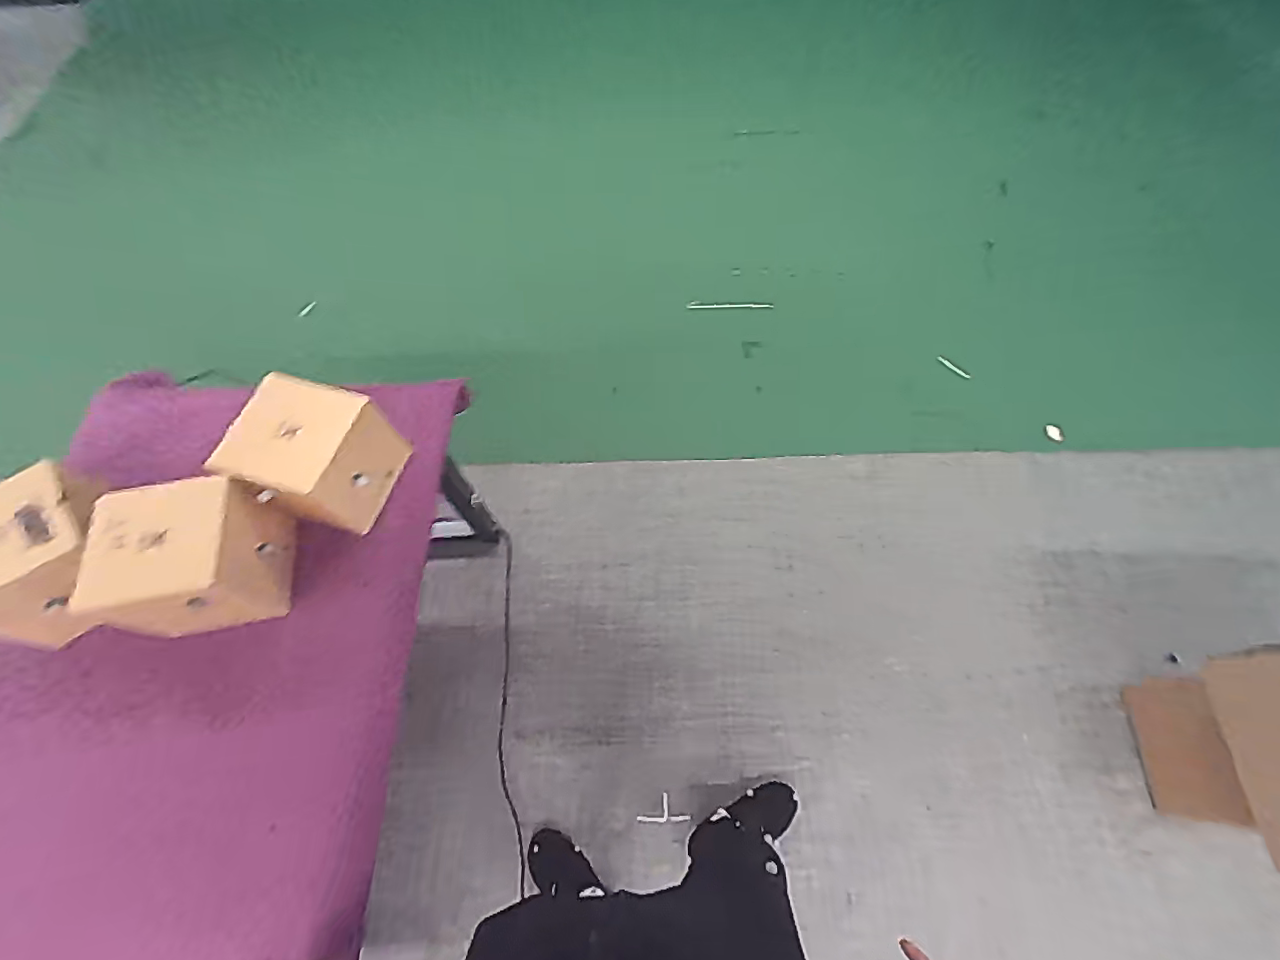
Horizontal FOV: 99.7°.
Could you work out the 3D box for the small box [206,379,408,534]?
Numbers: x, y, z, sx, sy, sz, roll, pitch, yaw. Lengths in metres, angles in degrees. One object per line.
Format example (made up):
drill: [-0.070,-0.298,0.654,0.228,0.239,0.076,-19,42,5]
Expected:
small box: [-0.502,-0.029,0.848,0.179,0.176,0.168,14,66,10]
